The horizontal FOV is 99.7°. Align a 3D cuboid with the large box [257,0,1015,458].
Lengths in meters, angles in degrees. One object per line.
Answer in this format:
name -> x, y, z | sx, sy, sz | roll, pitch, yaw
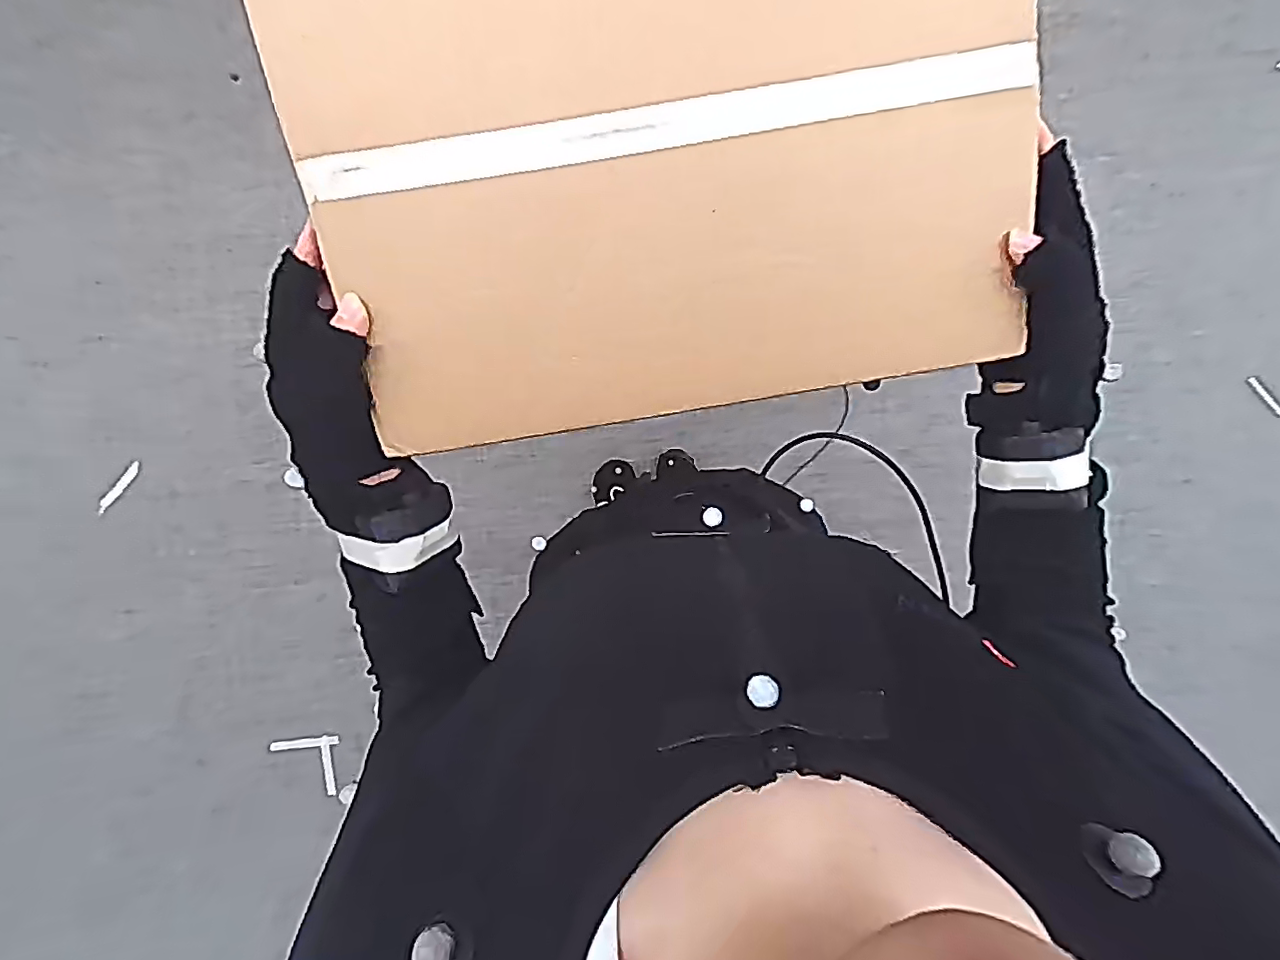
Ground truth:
large box -> 0.007, -0.235, 0.447 | 0.408, 0.320, 0.320 | -9, 106, 0
